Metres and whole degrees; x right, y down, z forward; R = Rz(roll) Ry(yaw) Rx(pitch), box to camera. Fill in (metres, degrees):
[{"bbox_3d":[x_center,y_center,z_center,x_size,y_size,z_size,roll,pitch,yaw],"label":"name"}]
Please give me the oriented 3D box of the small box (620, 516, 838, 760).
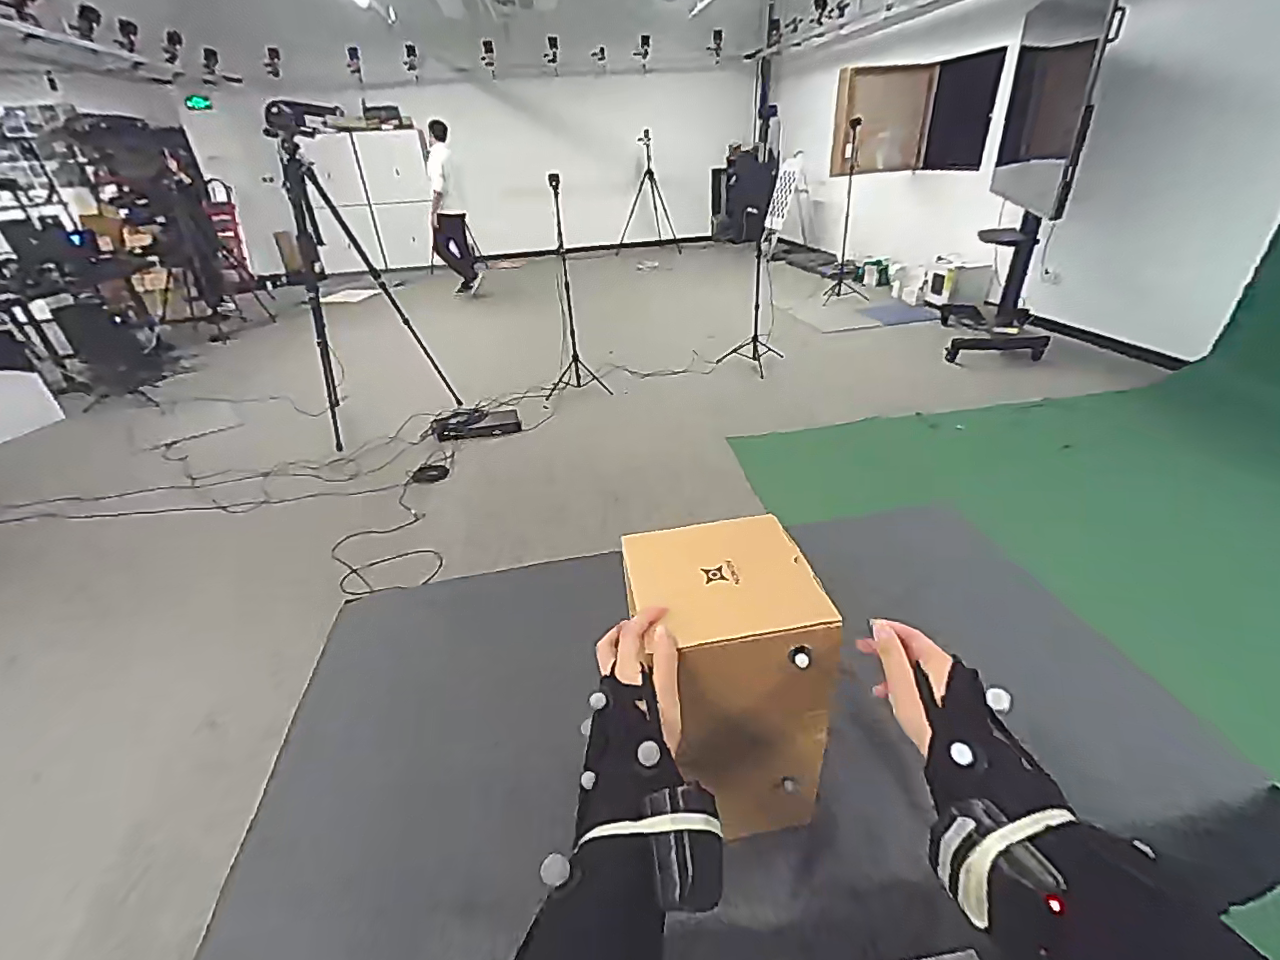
[{"bbox_3d":[0.081,0.161,0.562,0.179,0.176,0.168,-8,31,-6],"label":"small box"}]
